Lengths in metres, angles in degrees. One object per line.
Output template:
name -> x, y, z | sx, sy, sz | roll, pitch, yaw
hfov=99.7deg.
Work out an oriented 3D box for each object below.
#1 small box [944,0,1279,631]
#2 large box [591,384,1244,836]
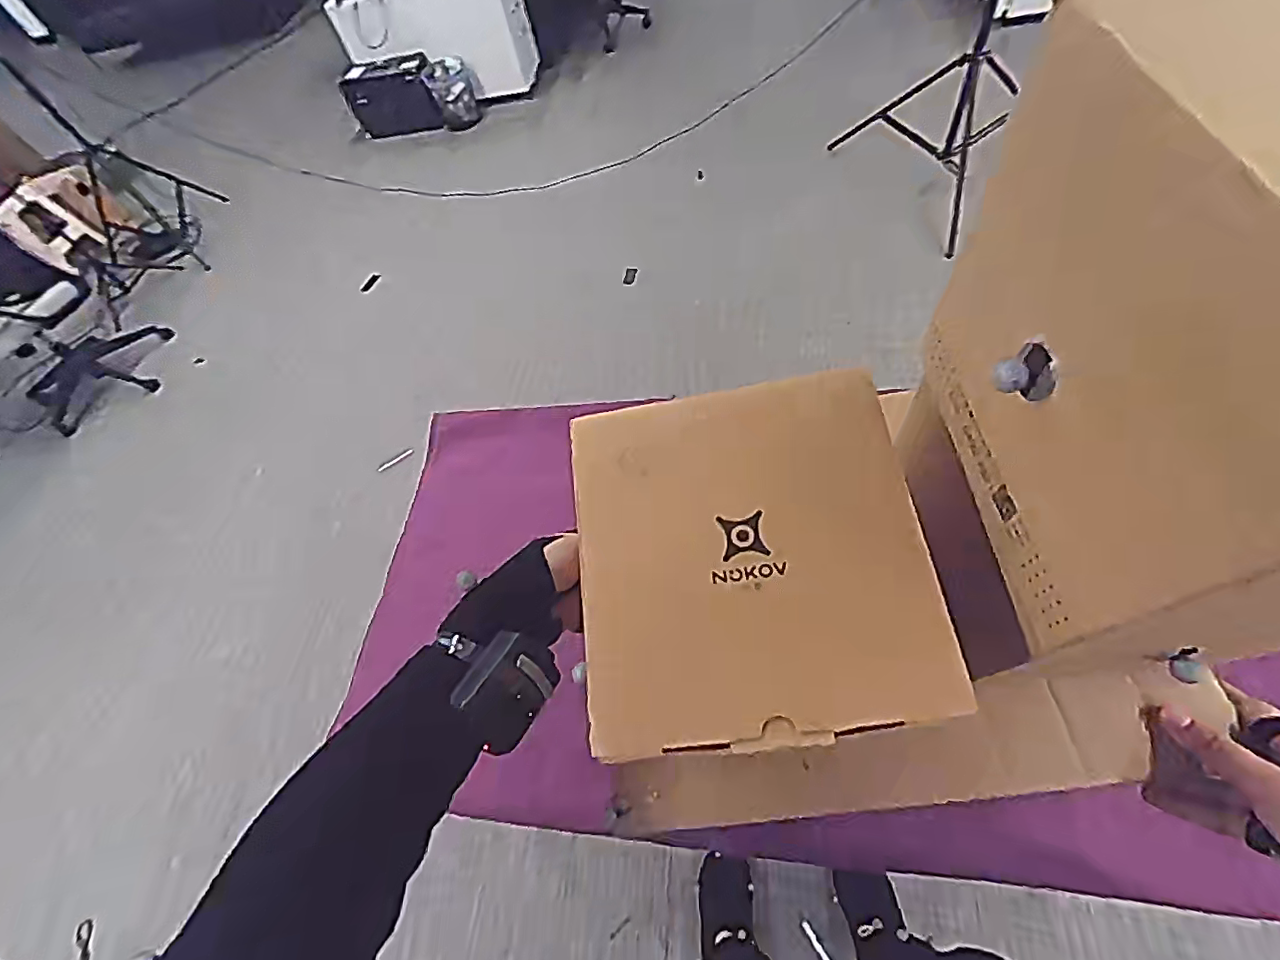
small box -> 0.226, -0.055, 0.176 | 0.179, 0.176, 0.168 | -9, 62, 8
large box -> 0.191, 0.139, 0.549 | 0.408, 0.320, 0.320 | -10, 61, 7
